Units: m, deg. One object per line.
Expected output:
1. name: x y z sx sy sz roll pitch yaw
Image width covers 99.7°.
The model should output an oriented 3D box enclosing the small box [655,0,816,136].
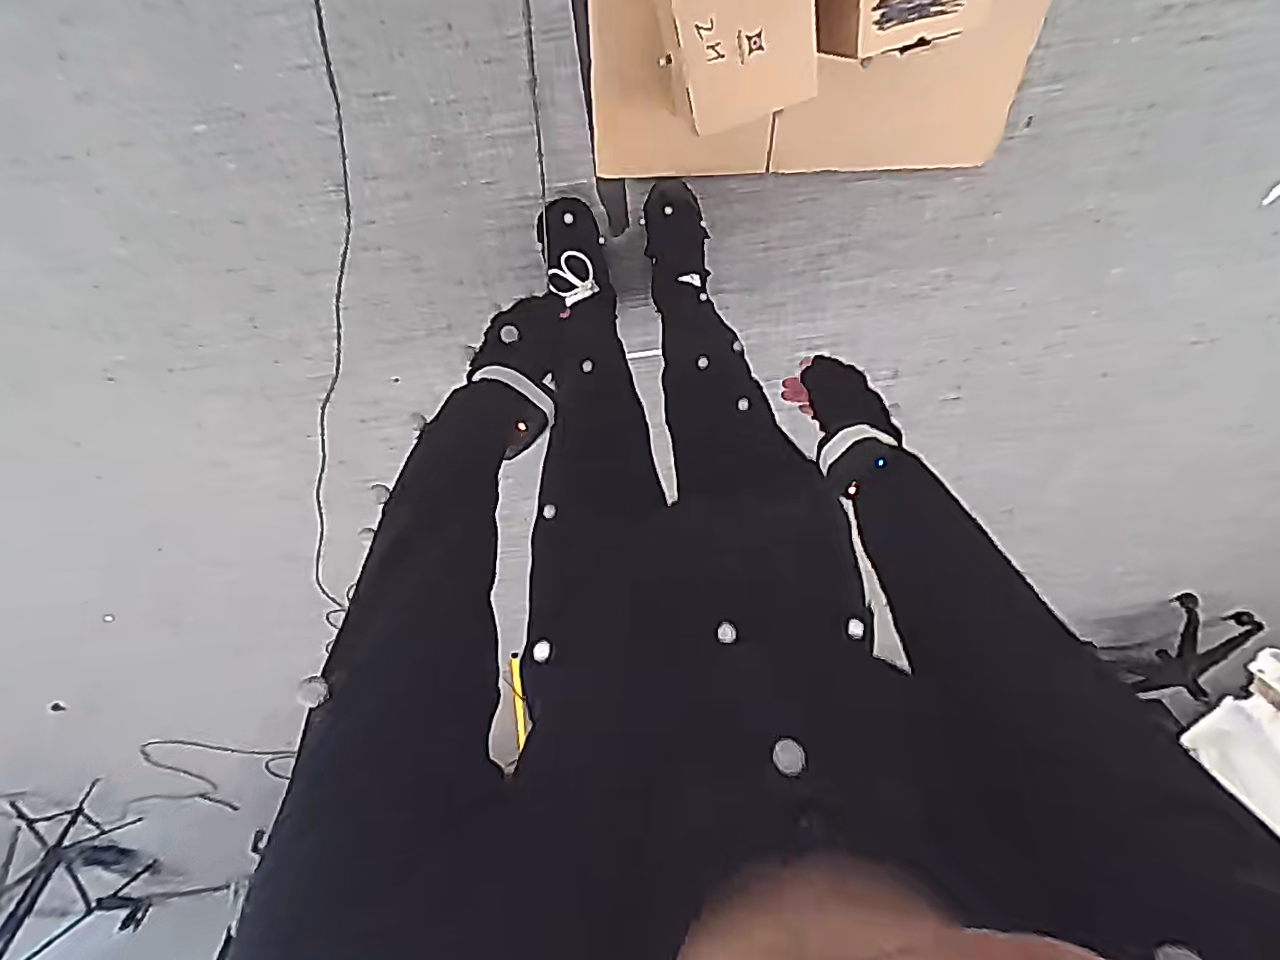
1. small box: 0.131 -0.614 0.757 0.179 0.176 0.168 -15 130 7
